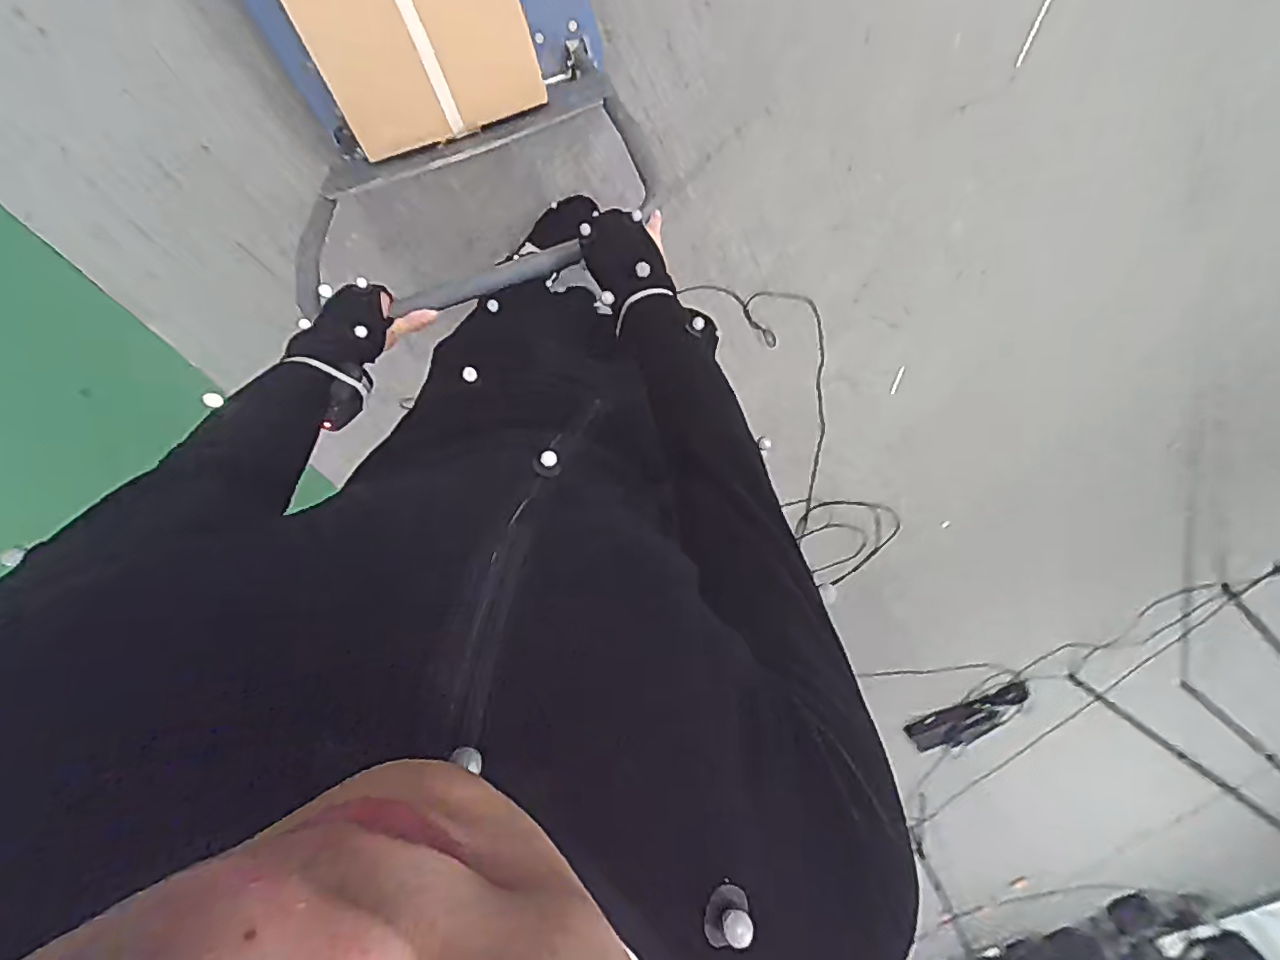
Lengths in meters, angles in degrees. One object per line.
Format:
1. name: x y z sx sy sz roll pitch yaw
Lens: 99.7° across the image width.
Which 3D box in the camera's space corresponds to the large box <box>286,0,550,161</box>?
1. large box: -0.363 -0.797 0.841 0.320 0.320 0.408 -18 135 2
